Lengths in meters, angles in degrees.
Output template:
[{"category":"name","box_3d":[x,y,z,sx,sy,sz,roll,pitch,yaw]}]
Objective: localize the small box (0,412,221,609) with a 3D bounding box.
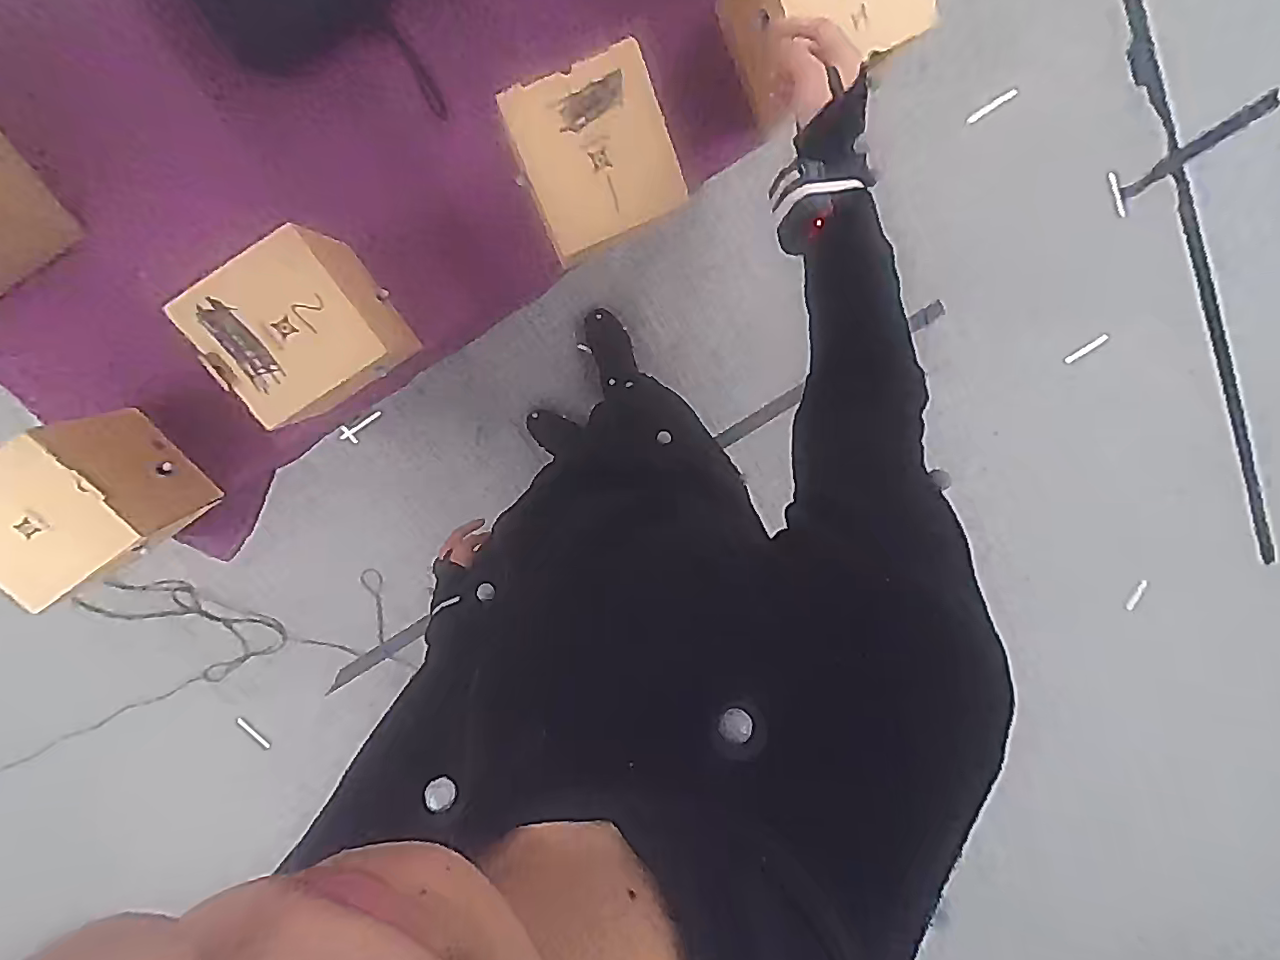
[{"category":"small box","box_3d":[-0.724,0.030,0.718,0.179,0.176,0.168,-36,108,3]}]

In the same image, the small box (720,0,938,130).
[{"category":"small box","box_3d":[0.216,-0.574,0.658,0.168,0.176,0.179,-27,107,2]}]
